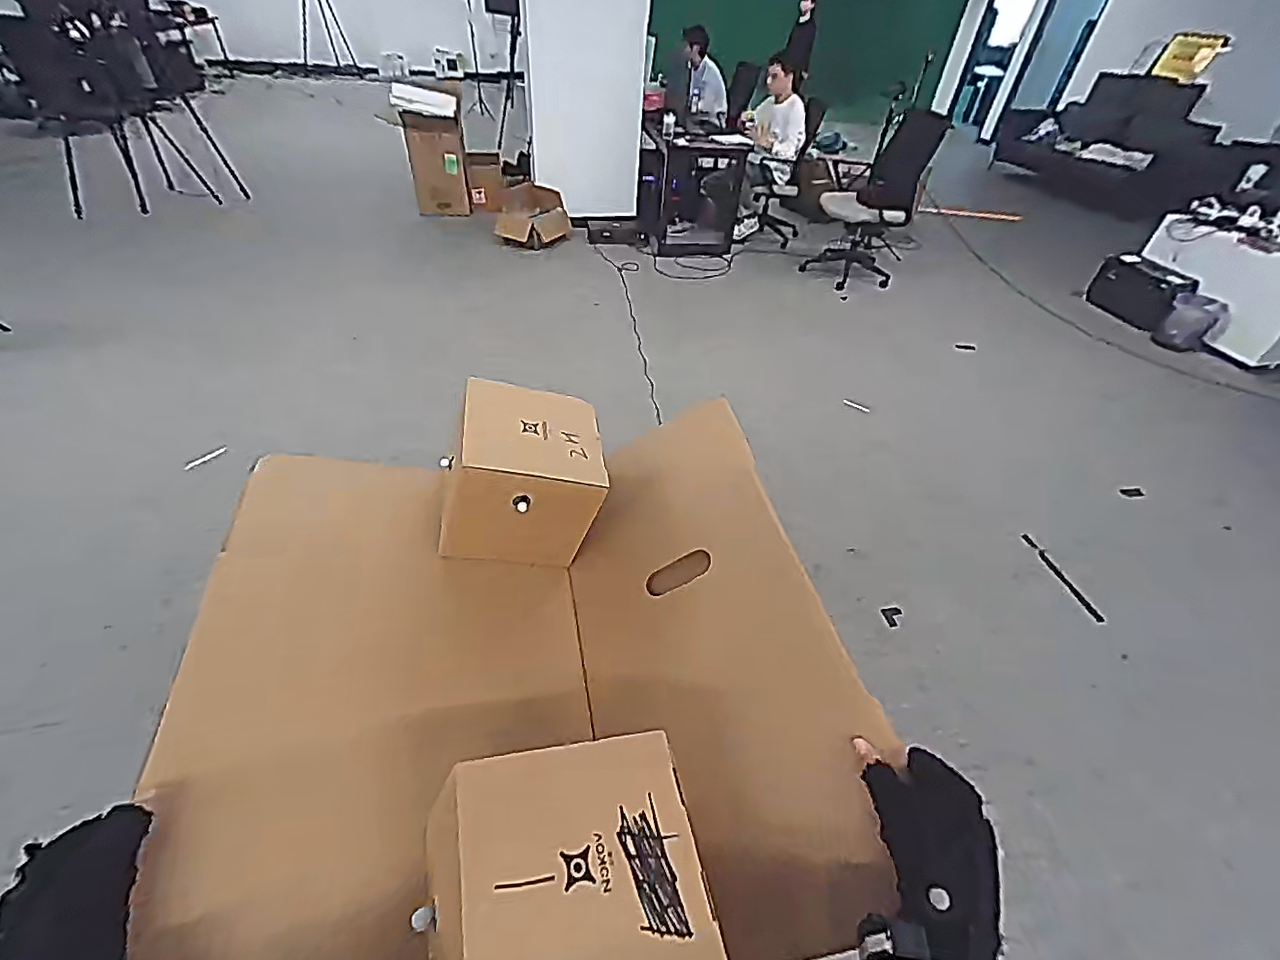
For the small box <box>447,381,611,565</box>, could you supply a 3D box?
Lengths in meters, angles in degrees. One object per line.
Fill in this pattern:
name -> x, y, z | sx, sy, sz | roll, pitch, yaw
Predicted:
small box -> -0.155, -0.002, 0.727 | 0.179, 0.176, 0.168 | 10, 43, -22
